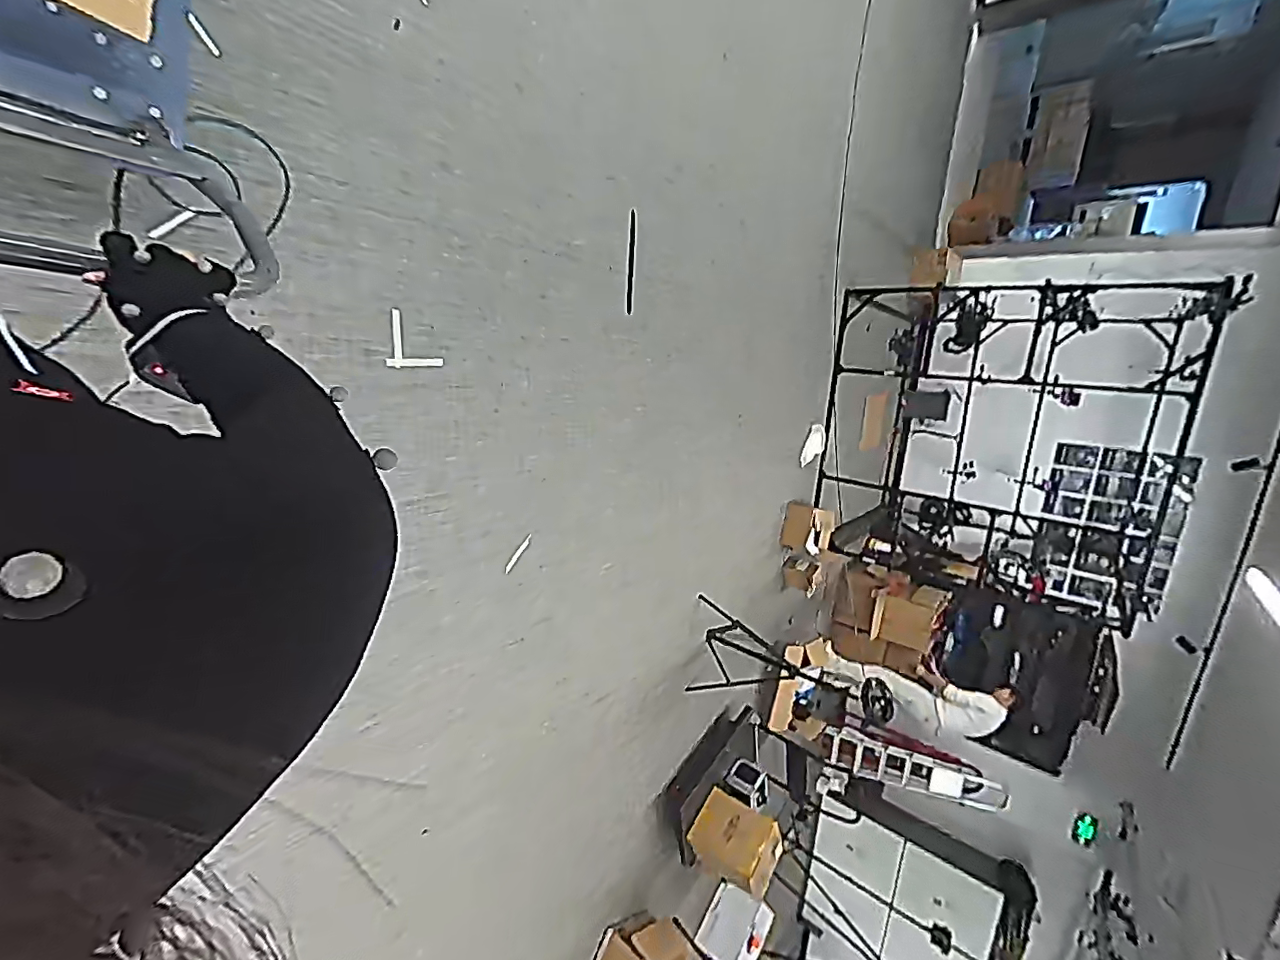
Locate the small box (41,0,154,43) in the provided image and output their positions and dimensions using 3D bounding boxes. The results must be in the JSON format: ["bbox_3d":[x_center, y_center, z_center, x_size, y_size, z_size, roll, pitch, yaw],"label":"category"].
[{"bbox_3d":[-0.816,-0.762,0.764,0.179,0.176,0.168,0,118,-54],"label":"small box"}]
